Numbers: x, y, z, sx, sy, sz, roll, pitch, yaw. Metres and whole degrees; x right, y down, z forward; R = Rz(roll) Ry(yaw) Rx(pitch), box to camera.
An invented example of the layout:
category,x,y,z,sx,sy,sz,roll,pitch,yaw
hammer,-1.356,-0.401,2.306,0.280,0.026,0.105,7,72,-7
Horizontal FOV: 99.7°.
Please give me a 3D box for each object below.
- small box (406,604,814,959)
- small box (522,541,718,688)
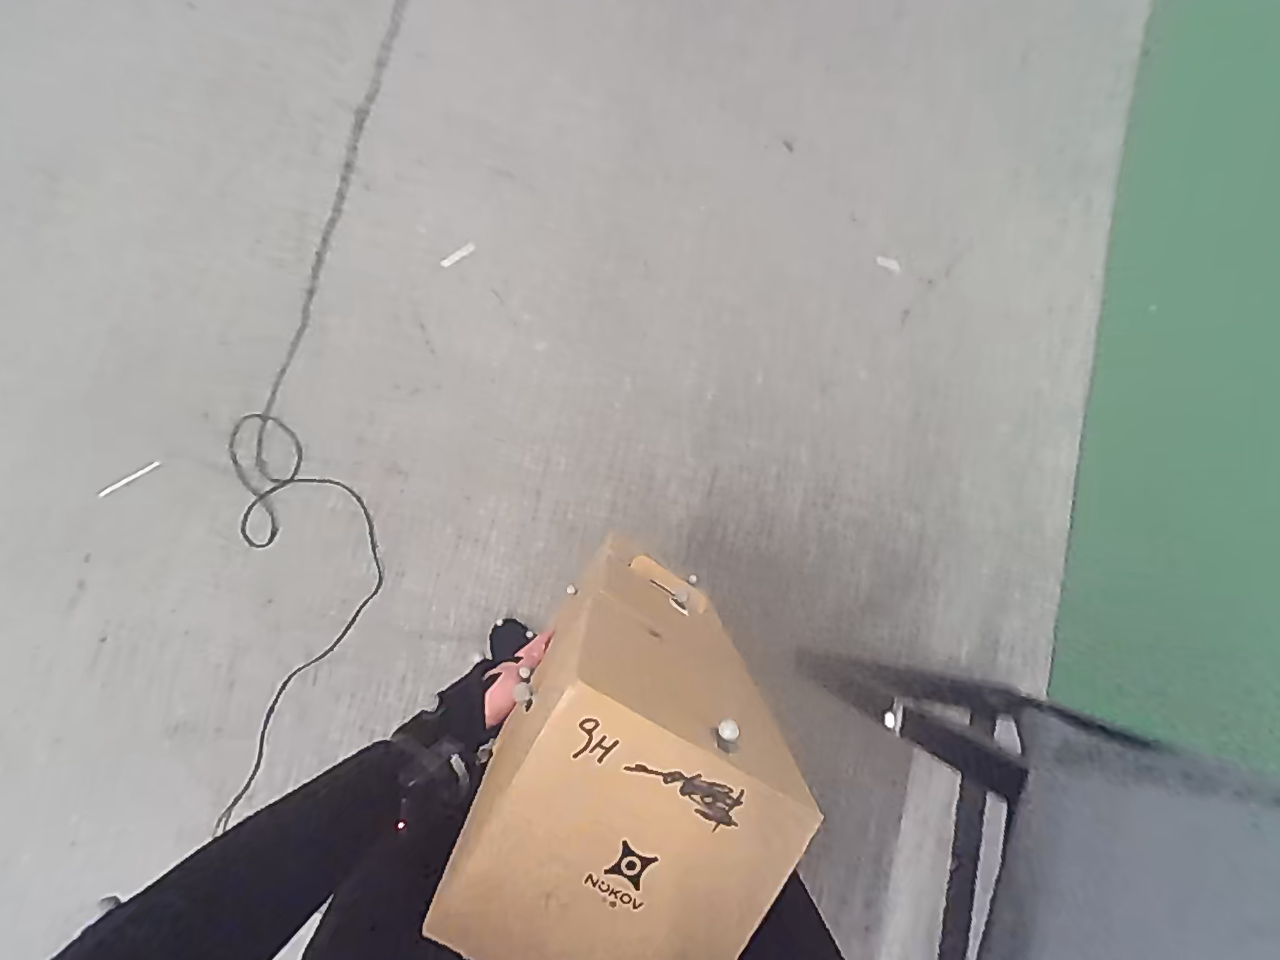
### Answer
category,x,y,z,sx,sy,sz,roll,pitch,yaw
small box,-0.017,0.216,0.369,0.168,0.176,0.179,29,93,-3
small box,-0.025,0.197,0.695,0.168,0.176,0.179,32,92,-2
